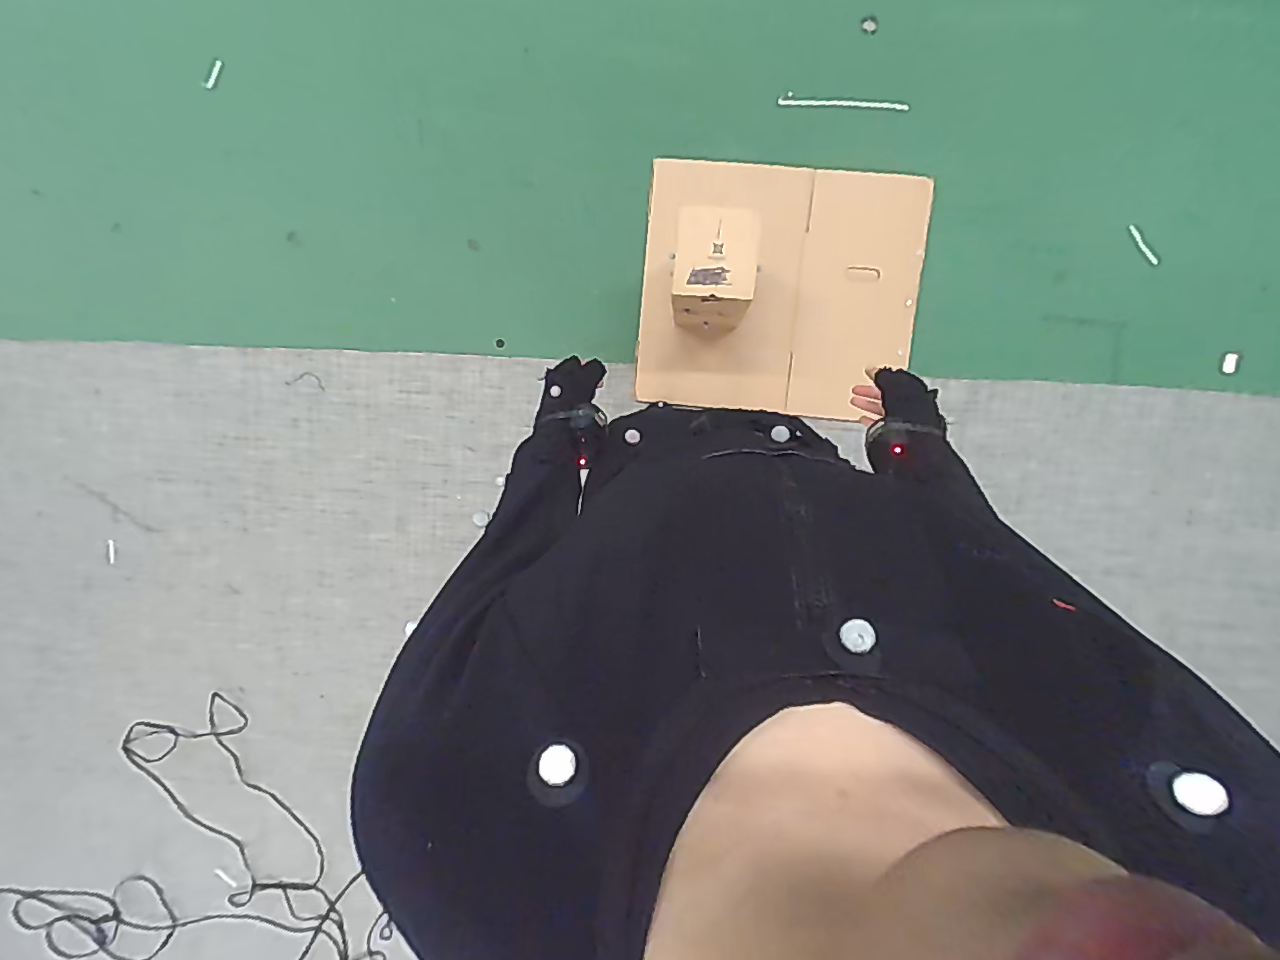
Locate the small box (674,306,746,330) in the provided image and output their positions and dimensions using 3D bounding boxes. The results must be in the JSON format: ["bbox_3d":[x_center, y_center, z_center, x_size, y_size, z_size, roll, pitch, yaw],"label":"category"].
[{"bbox_3d":[0.171,-0.470,1.306,0.168,0.176,0.179,4,97,4],"label":"small box"}]

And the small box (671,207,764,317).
[{"bbox_3d":[0.158,-0.451,1.143,0.168,0.176,0.179,6,96,3],"label":"small box"}]
